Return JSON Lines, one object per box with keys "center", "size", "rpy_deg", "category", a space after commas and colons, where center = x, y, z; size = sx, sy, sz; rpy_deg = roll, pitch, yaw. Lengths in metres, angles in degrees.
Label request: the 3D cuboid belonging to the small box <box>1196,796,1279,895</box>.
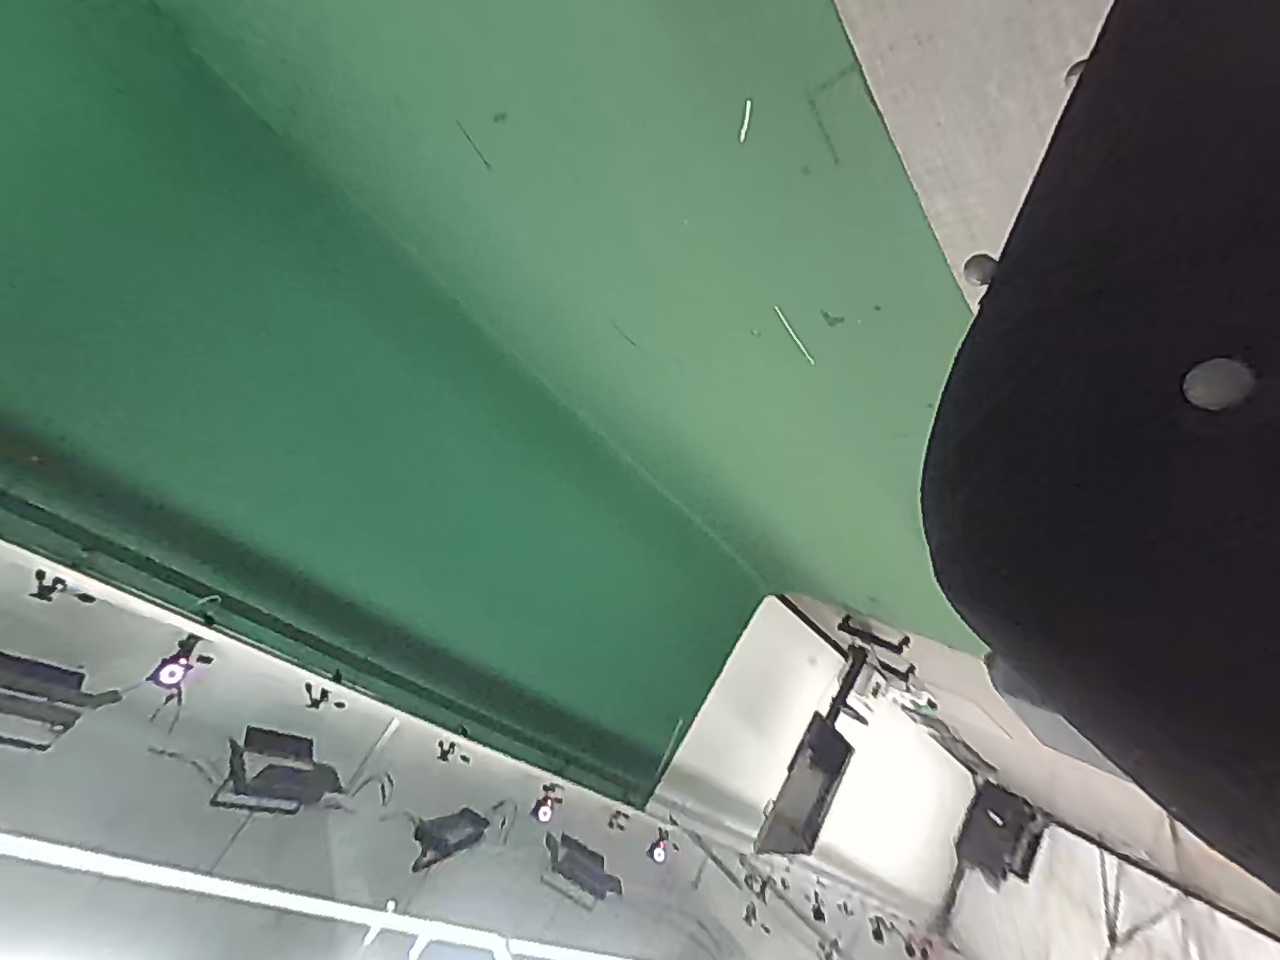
{"center": [1.756, 1.047, 1.561], "size": [0.168, 0.176, 0.179], "rpy_deg": [42, 162, -32], "category": "small box"}
